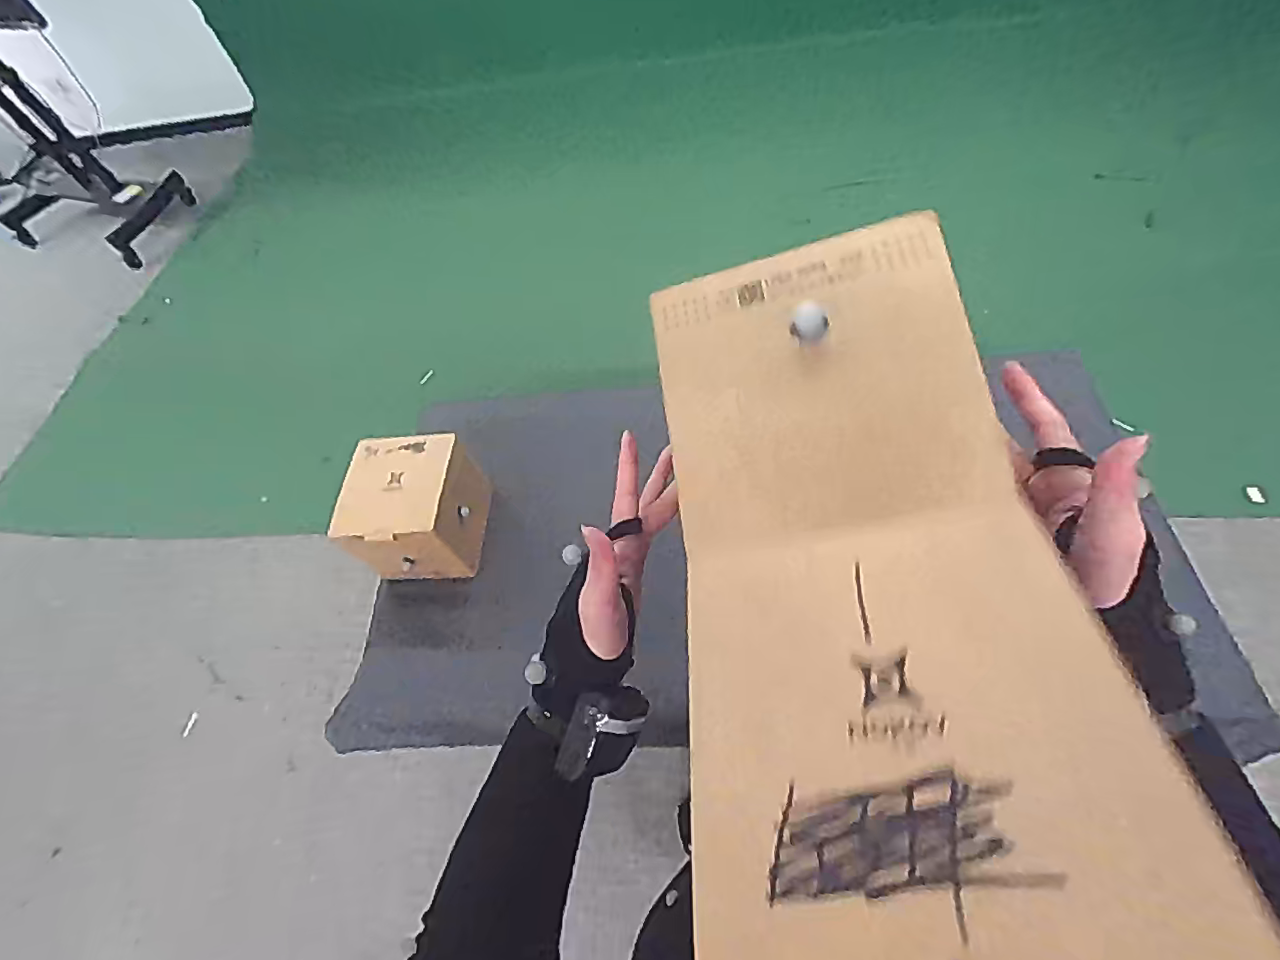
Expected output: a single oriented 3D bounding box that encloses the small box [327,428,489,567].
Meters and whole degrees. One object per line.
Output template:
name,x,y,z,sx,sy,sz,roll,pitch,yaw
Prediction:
small box,-0.359,0.037,0.876,0.168,0.176,0.179,-2,61,6
